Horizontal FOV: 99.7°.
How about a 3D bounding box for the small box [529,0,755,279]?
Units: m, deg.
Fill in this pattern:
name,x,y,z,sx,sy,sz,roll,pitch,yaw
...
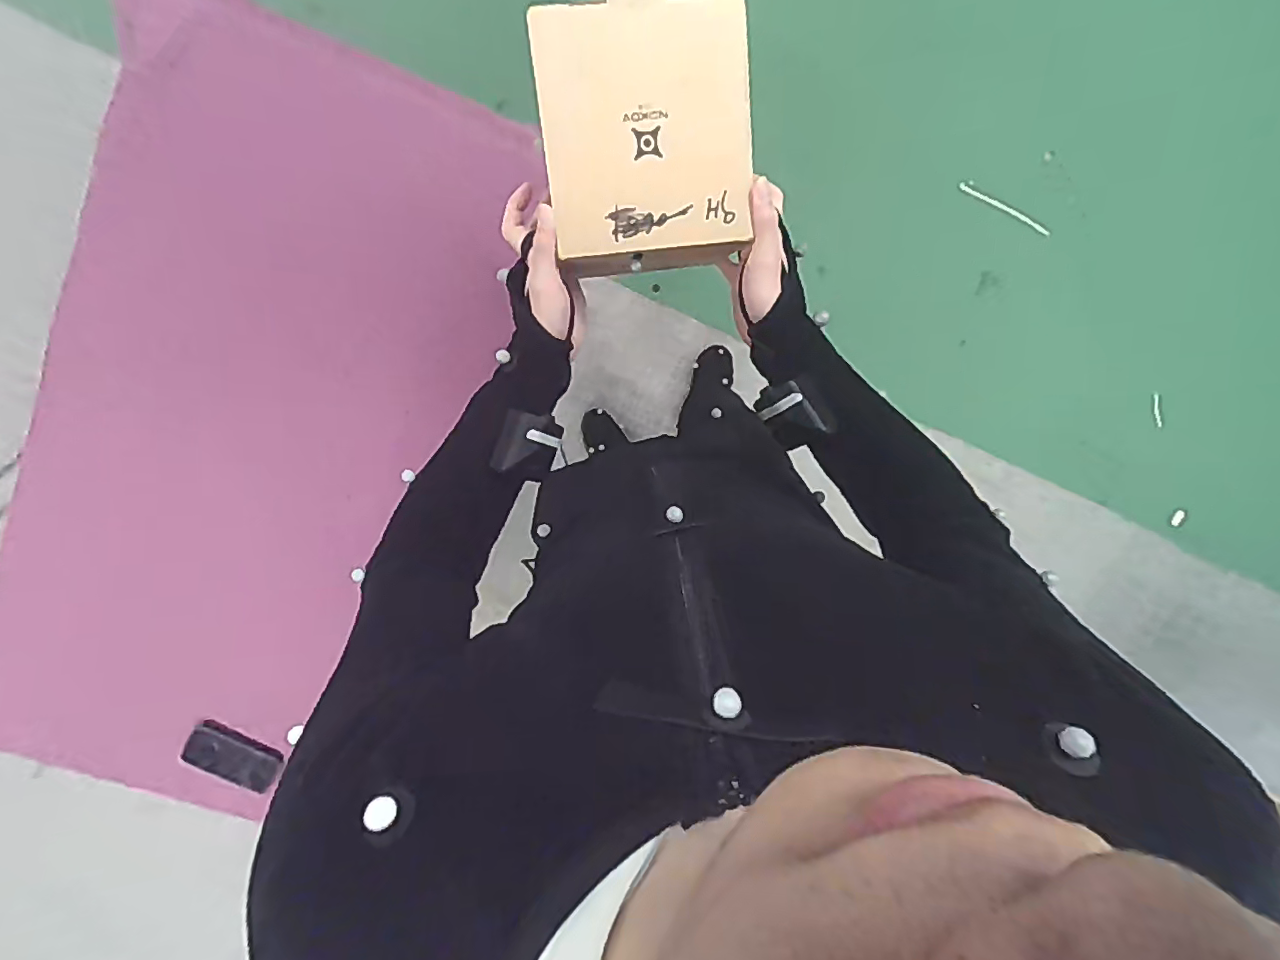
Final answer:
name,x,y,z,sx,sy,sz,roll,pitch,yaw
small box,0.000,-0.290,0.490,0.168,0.176,0.179,-6,105,-2
